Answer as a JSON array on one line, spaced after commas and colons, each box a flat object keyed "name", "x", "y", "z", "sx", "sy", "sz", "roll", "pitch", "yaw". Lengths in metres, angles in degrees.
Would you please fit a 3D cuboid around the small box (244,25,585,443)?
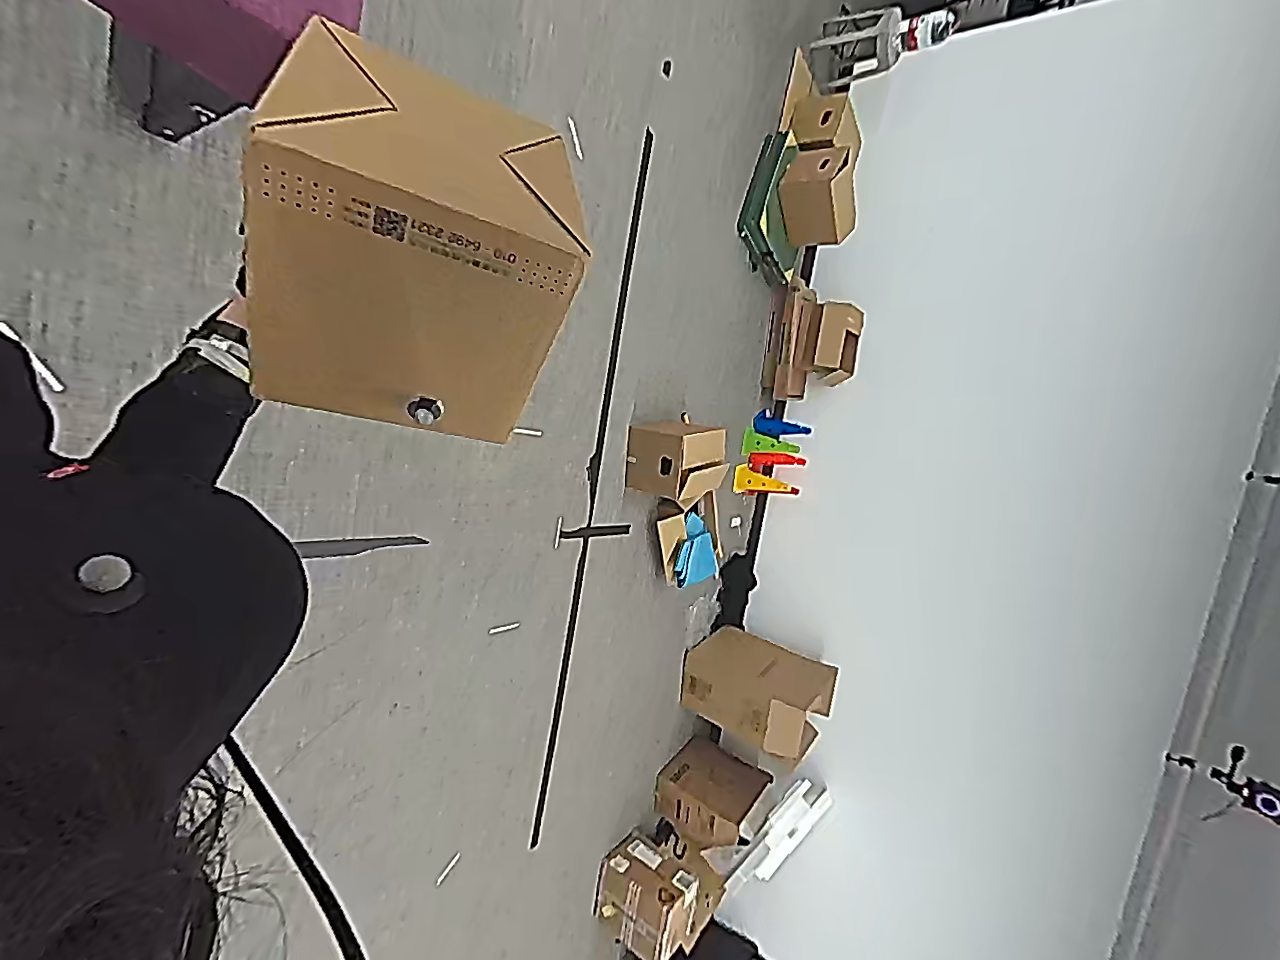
[{"name": "small box", "x": -0.148, "y": -0.156, "z": 0.366, "sx": 0.168, "sy": 0.179, "sz": 0.176, "roll": 11, "pitch": 138, "yaw": -28}]
